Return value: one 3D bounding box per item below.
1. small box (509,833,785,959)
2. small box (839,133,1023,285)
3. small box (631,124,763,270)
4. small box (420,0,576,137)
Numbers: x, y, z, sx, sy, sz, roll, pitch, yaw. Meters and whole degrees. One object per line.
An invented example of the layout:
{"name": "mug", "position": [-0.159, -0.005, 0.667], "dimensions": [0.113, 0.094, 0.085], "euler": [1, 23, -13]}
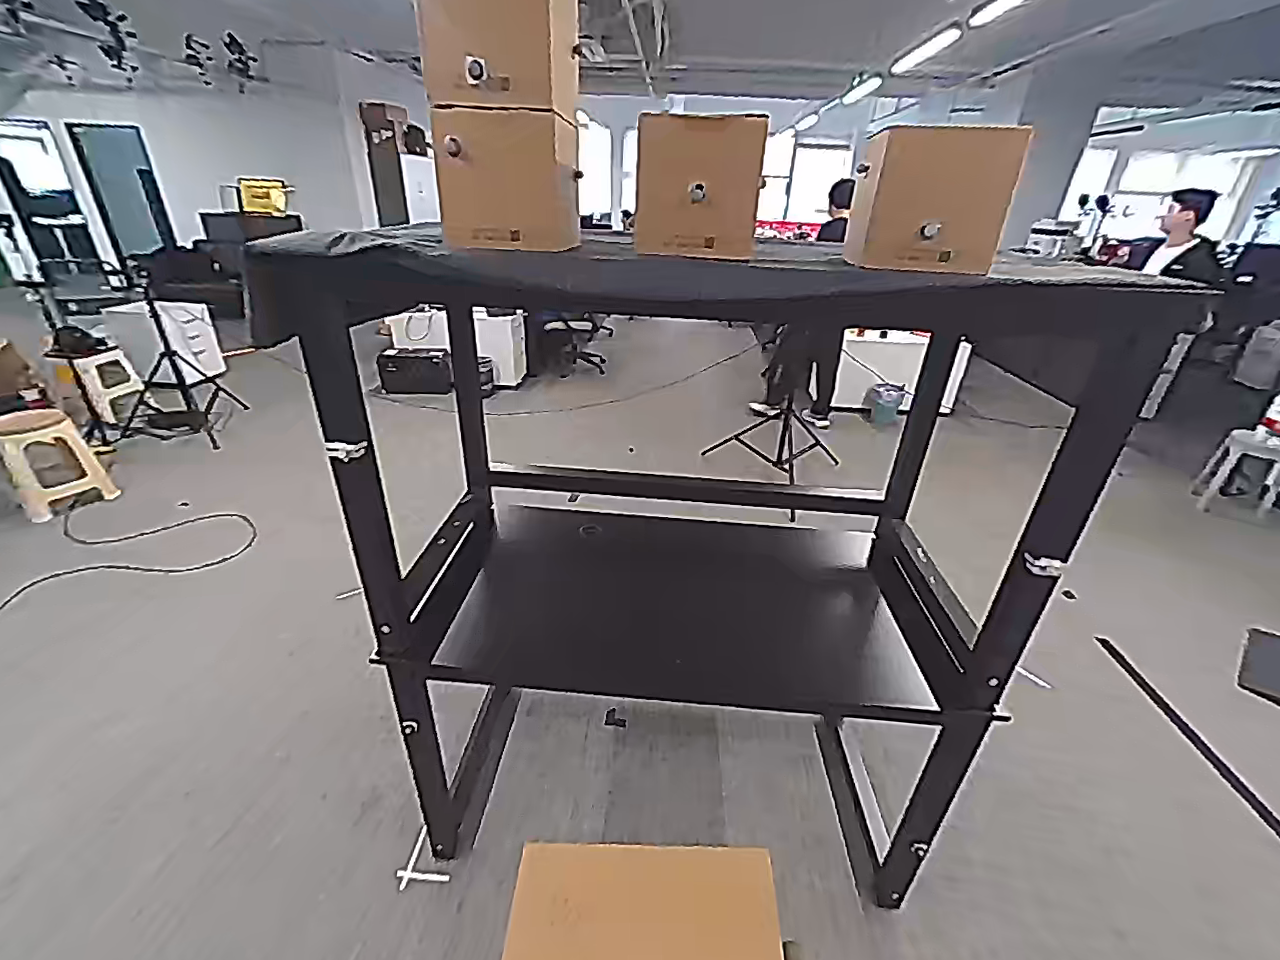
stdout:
{"name": "small box", "position": [0.005, 0.360, 0.344], "dimensions": [0.168, 0.176, 0.179], "euler": [-1, 36, 4]}
{"name": "small box", "position": [0.390, -0.379, 0.765], "dimensions": [0.168, 0.176, 0.179], "euler": [6, 27, 8]}
{"name": "small box", "position": [0.078, -0.404, 0.785], "dimensions": [0.168, 0.176, 0.179], "euler": [5, 26, 3]}
{"name": "small box", "position": [-0.181, -0.567, 0.727], "dimensions": [0.168, 0.176, 0.179], "euler": [3, 27, 3]}
